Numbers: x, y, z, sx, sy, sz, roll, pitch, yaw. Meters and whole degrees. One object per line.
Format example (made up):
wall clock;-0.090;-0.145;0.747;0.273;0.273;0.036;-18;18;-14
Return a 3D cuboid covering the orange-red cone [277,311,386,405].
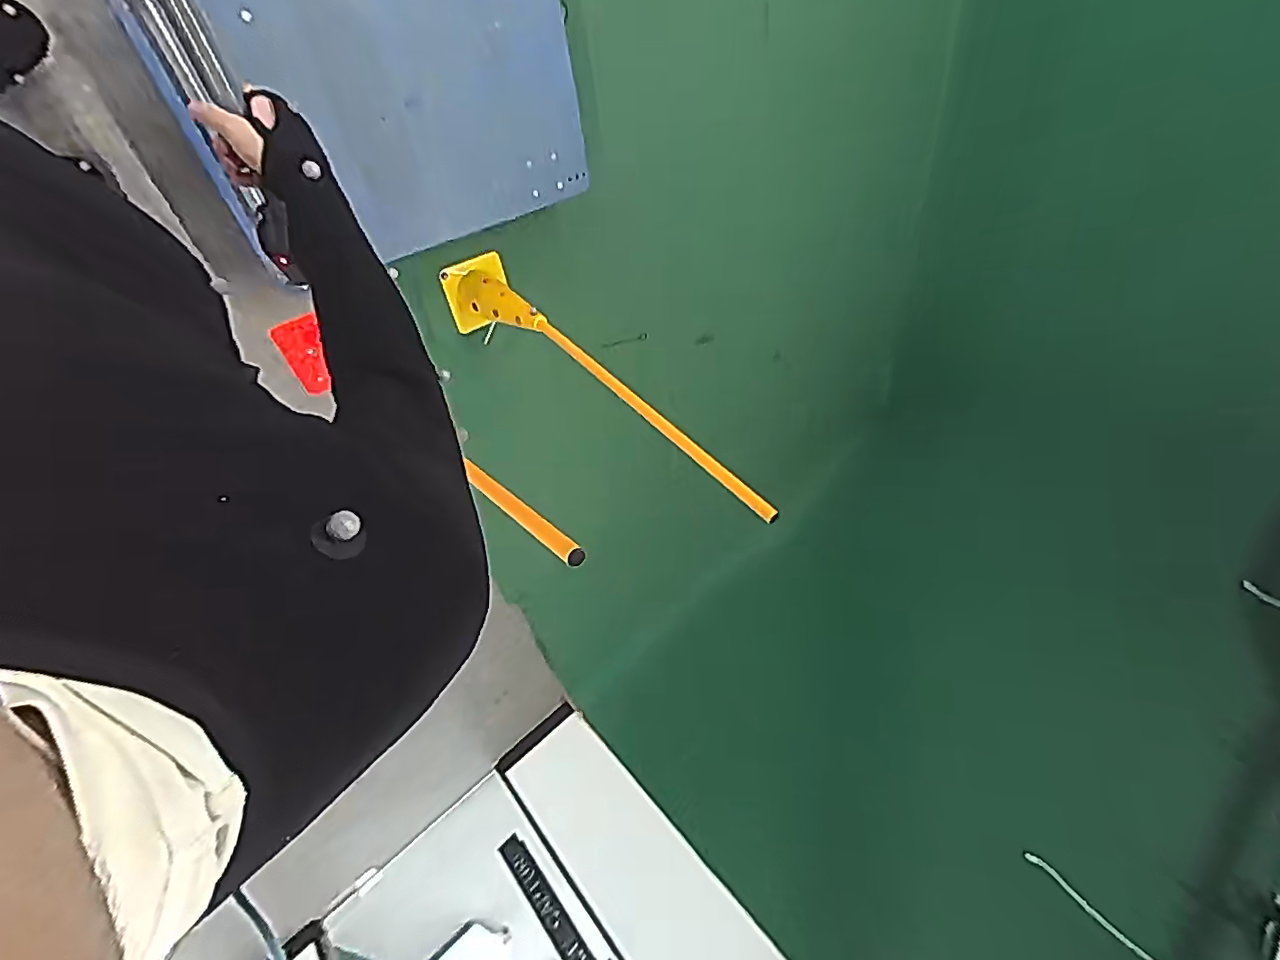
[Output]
orange-red cone;-0.710;-0.261;1.331;0.199;0.360;0.198;-36;137;-27
